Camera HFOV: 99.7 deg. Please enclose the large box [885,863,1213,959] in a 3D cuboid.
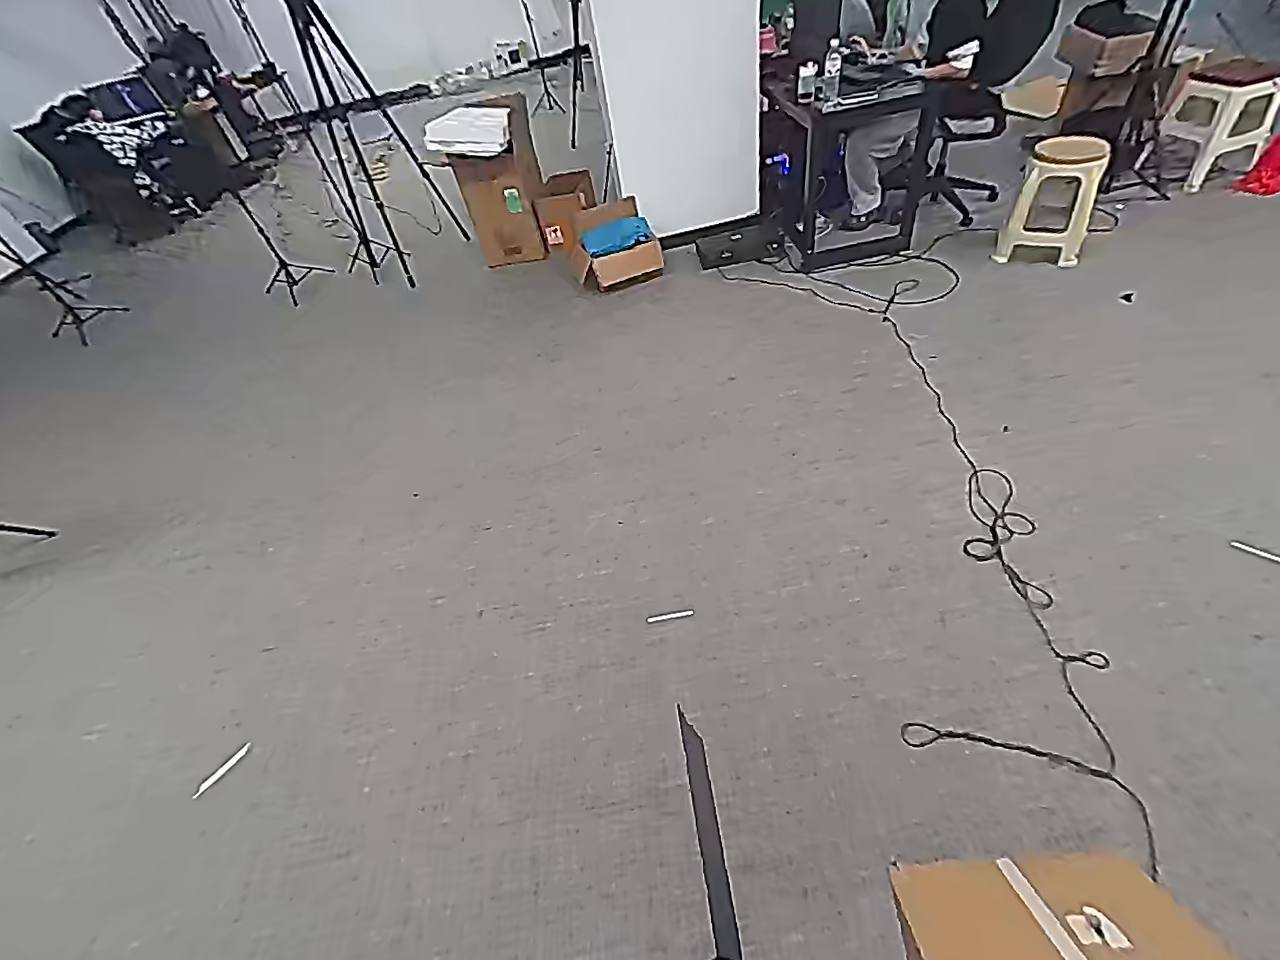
[{"bbox_3d":[0.505,0.701,0.574,0.320,0.408,0.320,-9,85,9],"label":"large box"}]
